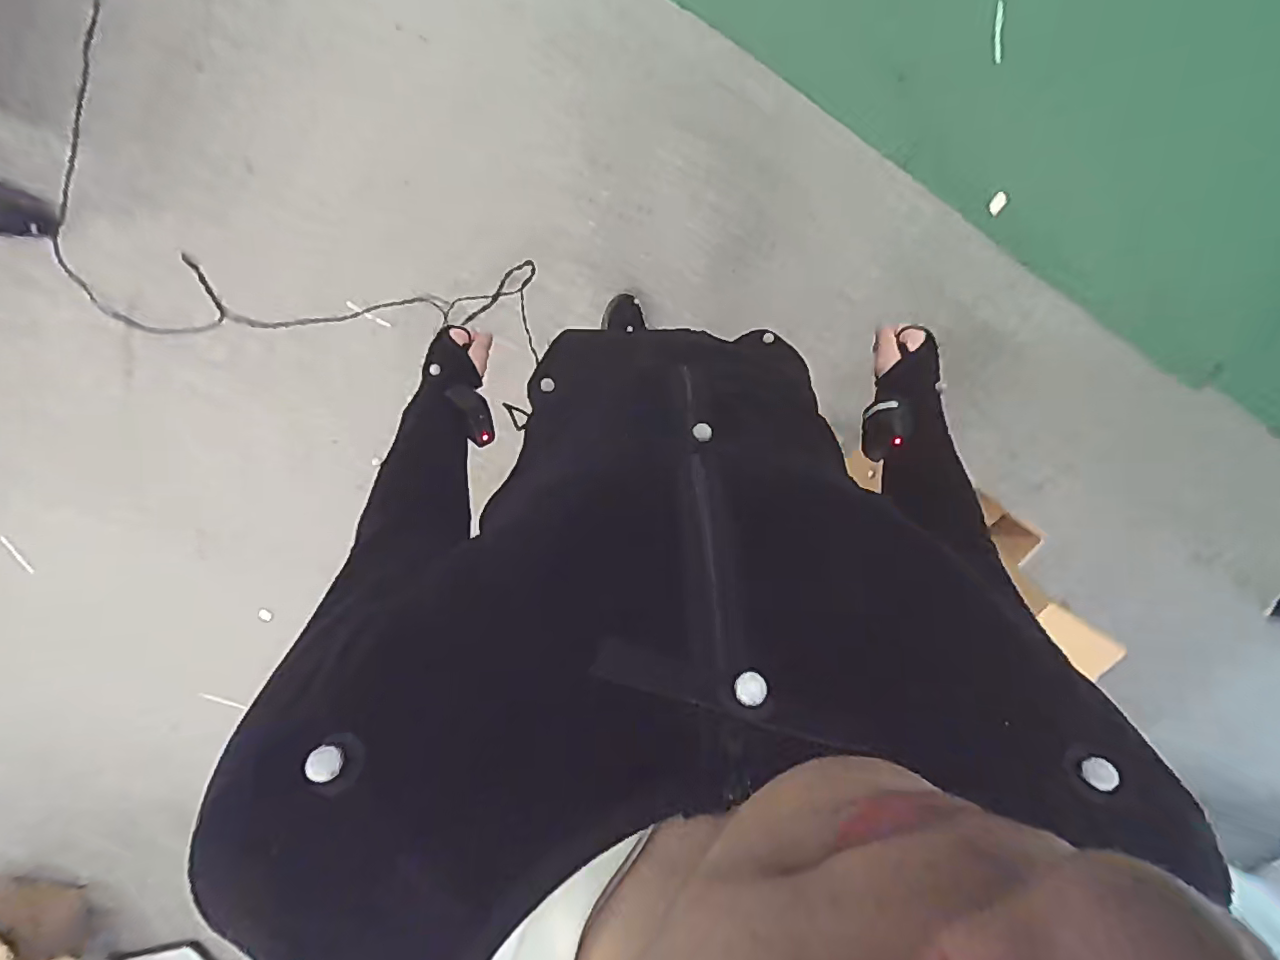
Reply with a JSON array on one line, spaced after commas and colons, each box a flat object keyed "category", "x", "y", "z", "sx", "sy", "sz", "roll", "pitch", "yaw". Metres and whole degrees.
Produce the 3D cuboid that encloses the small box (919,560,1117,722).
[{"category": "small box", "x": 0.625, "y": 0.264, "z": 0.918, "sx": 0.179, "sy": 0.176, "sz": 0.168, "roll": 30, "pitch": 107, "yaw": -13}]
